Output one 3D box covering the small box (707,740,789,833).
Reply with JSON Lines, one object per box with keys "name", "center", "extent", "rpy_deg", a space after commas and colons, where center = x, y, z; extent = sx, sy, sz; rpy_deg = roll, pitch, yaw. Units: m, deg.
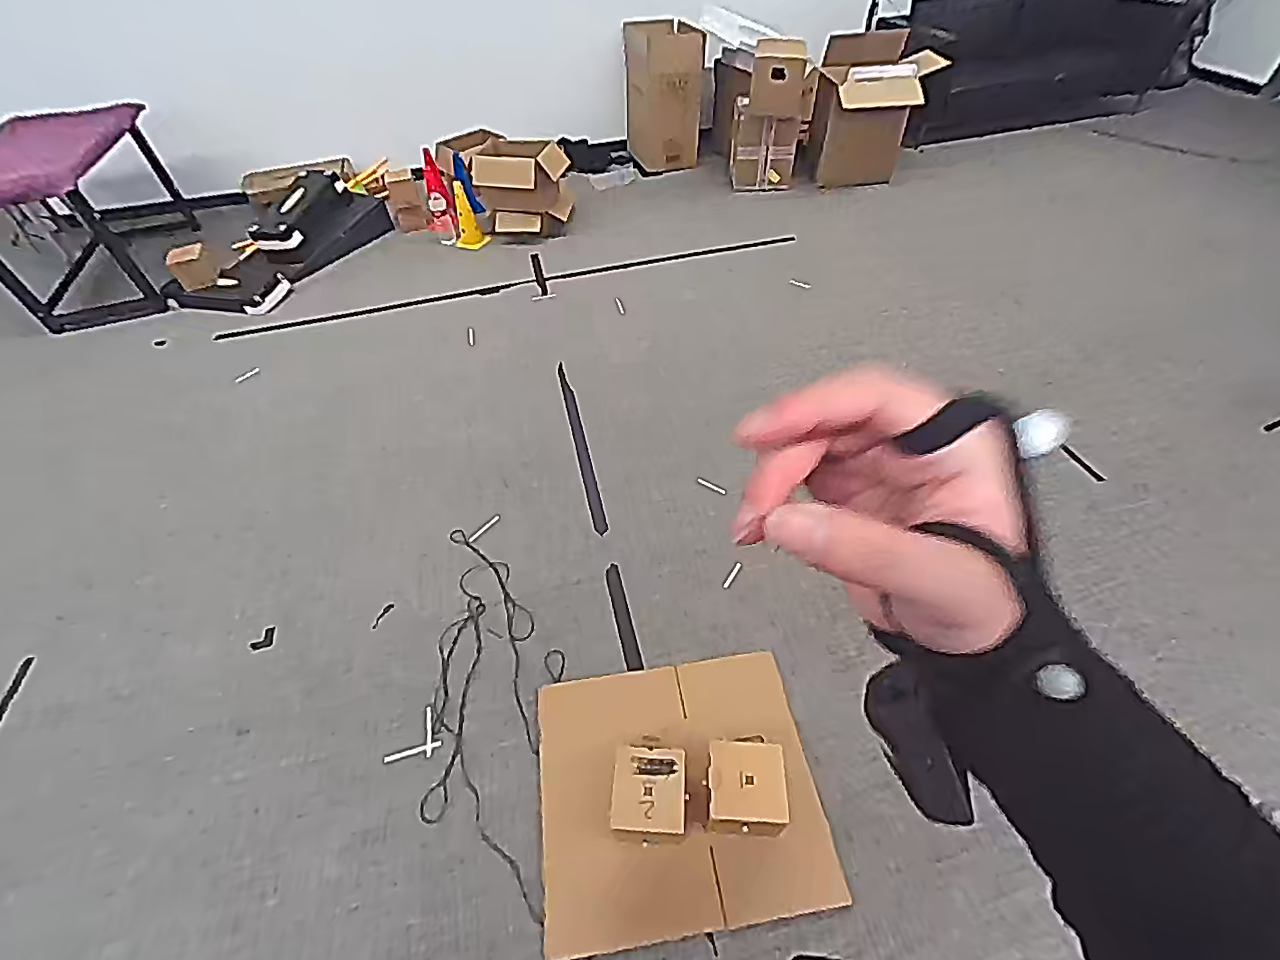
{"name": "small box", "center": [0.255, 0.752, 1.320], "extent": [0.179, 0.176, 0.168], "rpy_deg": [1, 49, 5]}
